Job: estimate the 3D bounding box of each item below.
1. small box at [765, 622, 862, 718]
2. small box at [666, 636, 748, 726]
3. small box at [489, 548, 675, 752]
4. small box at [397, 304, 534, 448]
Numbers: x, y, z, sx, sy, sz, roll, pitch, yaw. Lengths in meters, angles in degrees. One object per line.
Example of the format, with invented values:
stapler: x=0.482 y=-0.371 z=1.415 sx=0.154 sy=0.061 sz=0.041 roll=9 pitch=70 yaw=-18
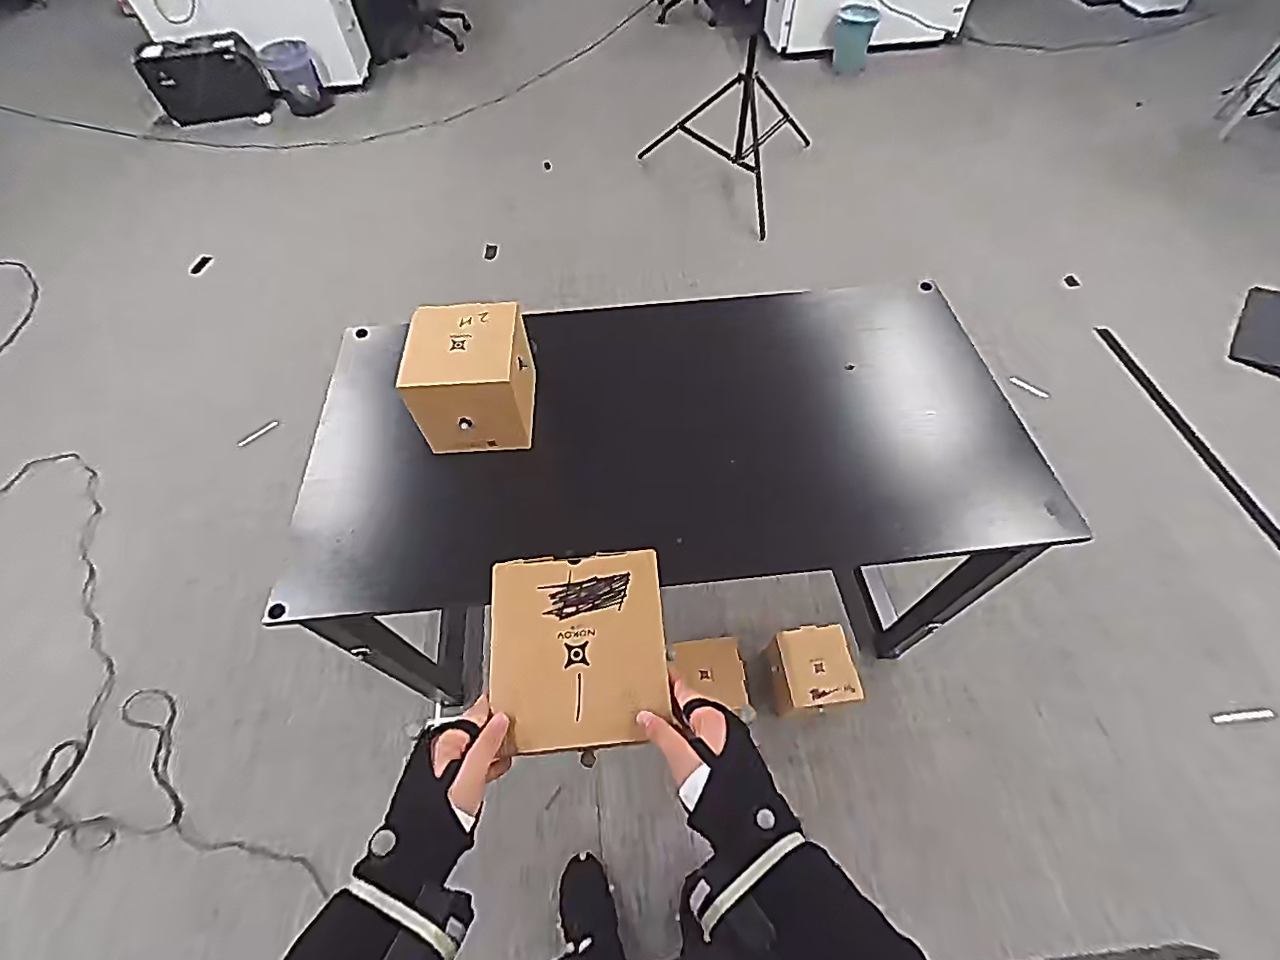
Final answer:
small box: x=0.415 y=0.470 z=1.330 sx=0.168 sy=0.176 sz=0.179 roll=-7 pitch=57 yaw=-2
small box: x=0.154 y=0.495 z=1.325 sx=0.179 sy=0.176 sz=0.168 roll=-7 pitch=56 yaw=-2
small box: x=-0.057 y=0.189 z=0.581 sx=0.168 sy=0.176 sz=0.179 roll=-6 pitch=64 yaw=-1
small box: x=-0.274 y=-0.163 z=0.893 sx=0.168 sy=0.176 sz=0.179 roll=-3 pitch=57 yaw=-1
